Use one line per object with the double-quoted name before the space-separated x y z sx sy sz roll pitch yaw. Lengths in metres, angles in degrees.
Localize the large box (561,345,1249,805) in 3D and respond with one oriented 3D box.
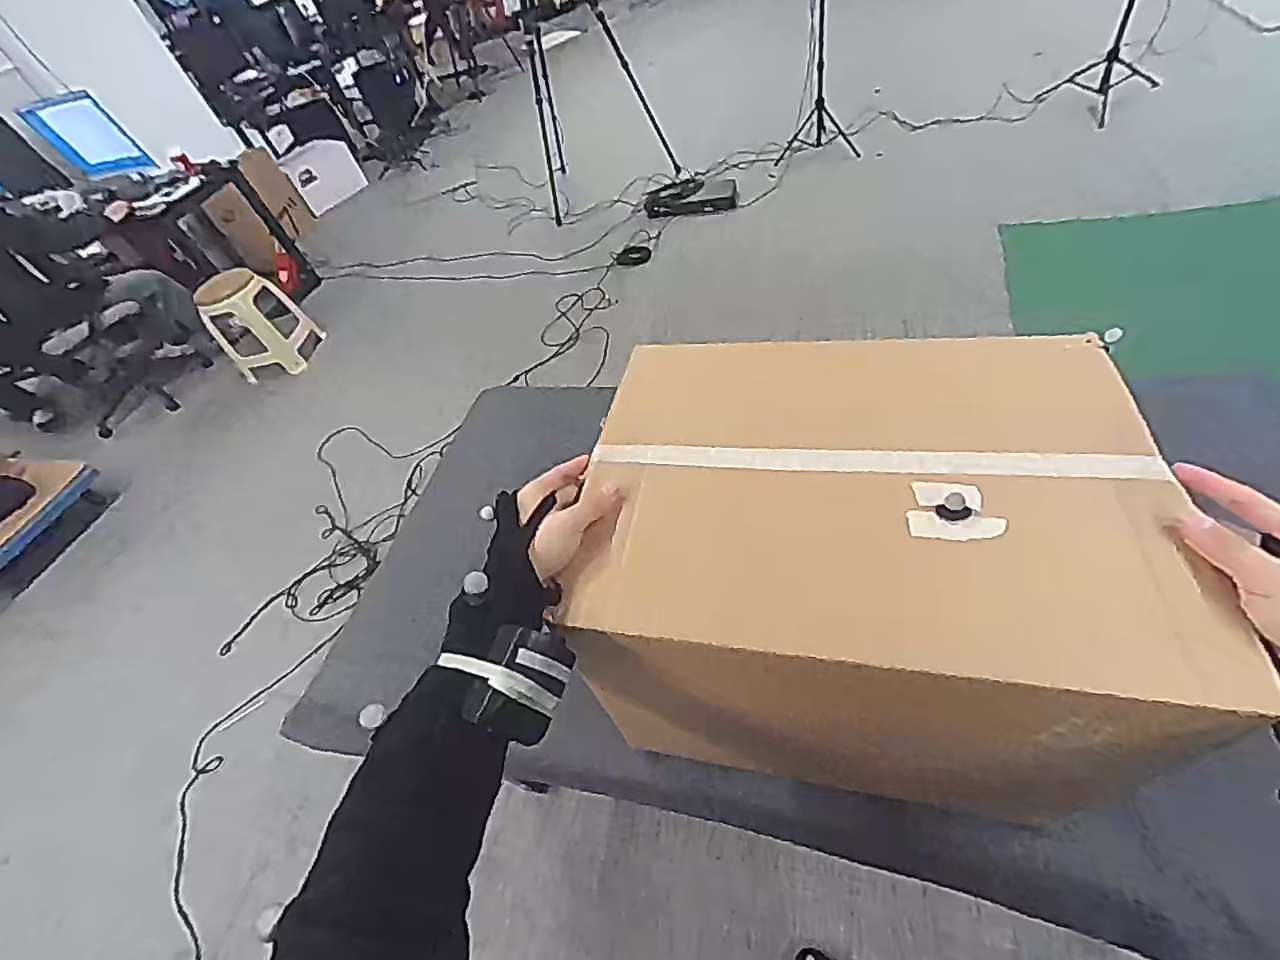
"large box" 0.184 0.087 0.536 0.408 0.320 0.320 3 51 15
